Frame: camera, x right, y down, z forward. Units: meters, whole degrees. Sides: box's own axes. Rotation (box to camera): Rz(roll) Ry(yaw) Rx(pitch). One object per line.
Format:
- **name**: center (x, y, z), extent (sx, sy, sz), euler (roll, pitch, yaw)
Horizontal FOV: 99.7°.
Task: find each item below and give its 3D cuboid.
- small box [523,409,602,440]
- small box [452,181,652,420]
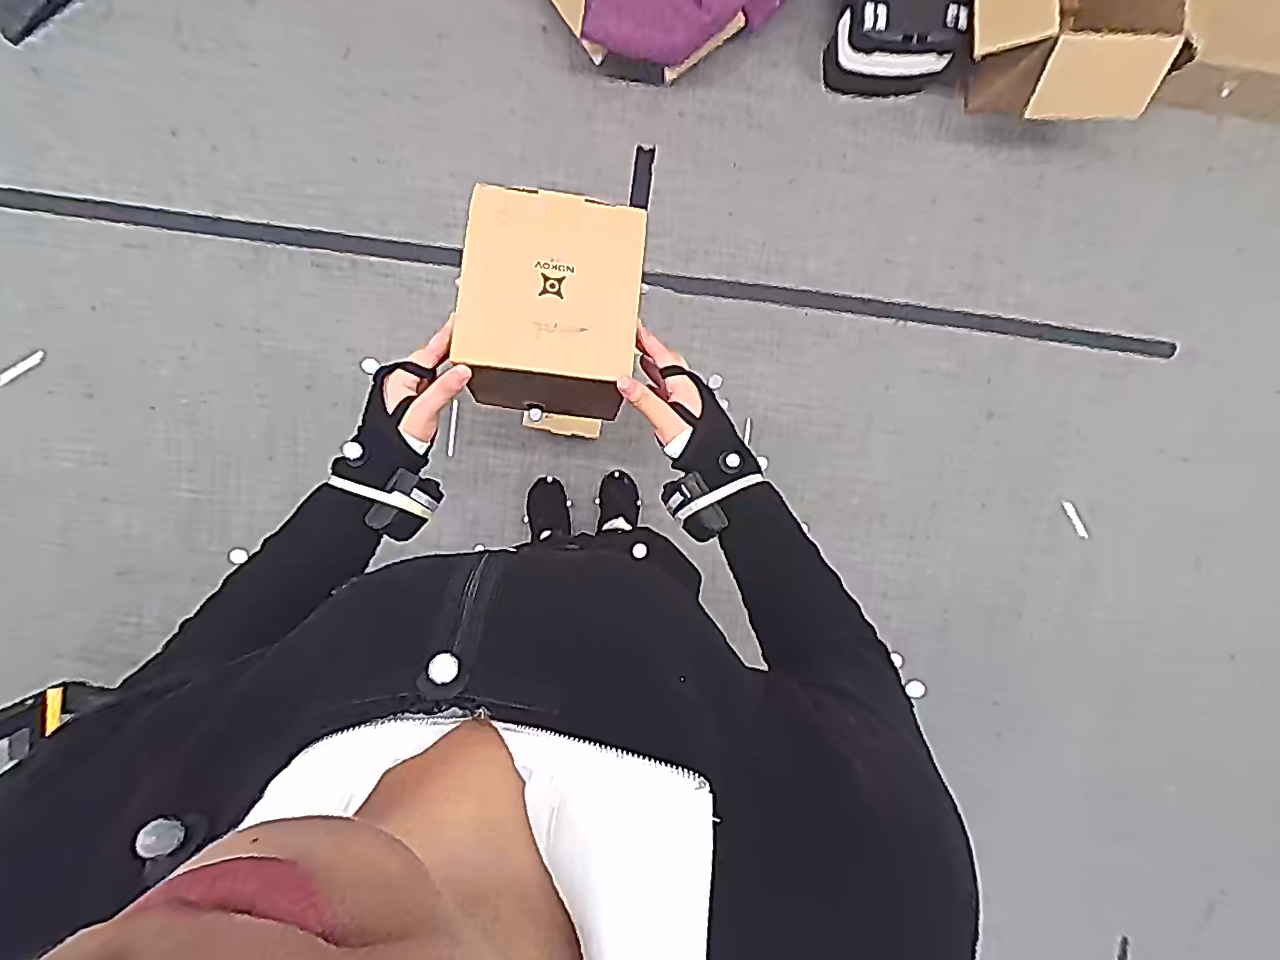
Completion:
- **small box**: center (-0.160, -0.190, 1.225), extent (0.168, 0.176, 0.179), euler (10, 94, -5)
- **small box**: center (-0.088, -0.172, 0.571), extent (0.168, 0.176, 0.179), euler (6, 86, -7)
